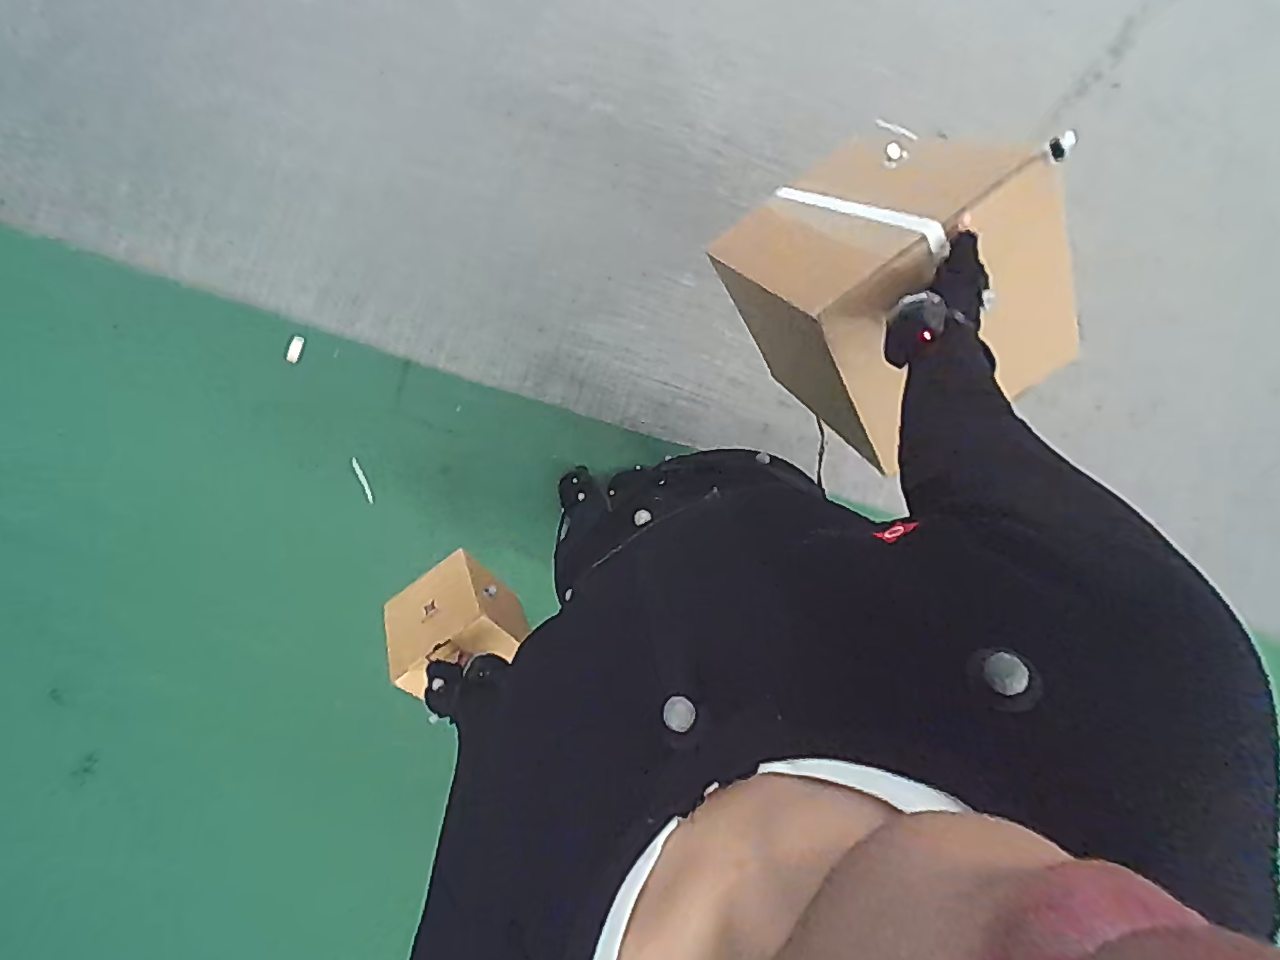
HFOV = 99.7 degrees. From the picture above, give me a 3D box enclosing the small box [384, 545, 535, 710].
[{"bbox_3d":[-0.306,0.252,0.920,0.168,0.179,0.176,-36,131,-3],"label":"small box"}]
